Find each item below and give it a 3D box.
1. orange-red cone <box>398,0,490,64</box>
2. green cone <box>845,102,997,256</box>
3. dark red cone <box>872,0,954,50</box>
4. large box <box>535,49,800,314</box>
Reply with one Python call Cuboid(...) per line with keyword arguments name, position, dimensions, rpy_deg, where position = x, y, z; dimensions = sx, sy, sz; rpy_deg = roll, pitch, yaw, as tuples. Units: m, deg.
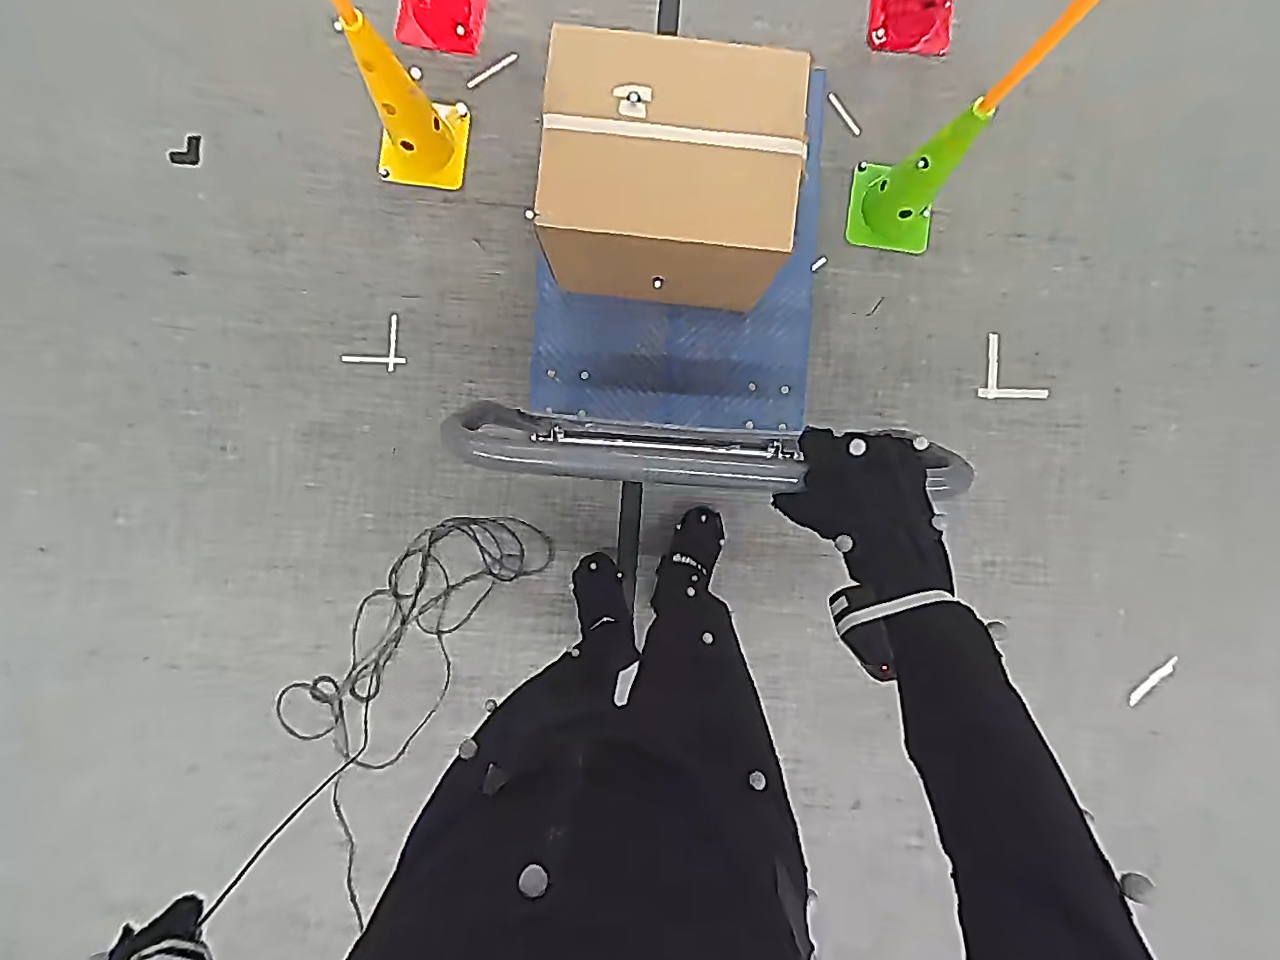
Cuboid(name="orange-red cone", position=(-0.470, -1.125, 1.140), dimensions=(0.198, 0.360, 0.199), rpy_deg=(11, 88, -2))
Cuboid(name="green cone", position=(0.612, -0.657, 1.150), dimensions=(0.202, 0.368, 0.200), rpy_deg=(8, 90, -2))
Cuboid(name="dark red cone", position=(0.664, -1.140, 1.136), dimensions=(0.201, 0.394, 0.202), rpy_deg=(4, 90, -3))
Cuboid(name="large box", position=(0.046, -0.513, 0.999), dimensions=(0.408, 0.320, 0.320), rpy_deg=(6, 90, 0))
